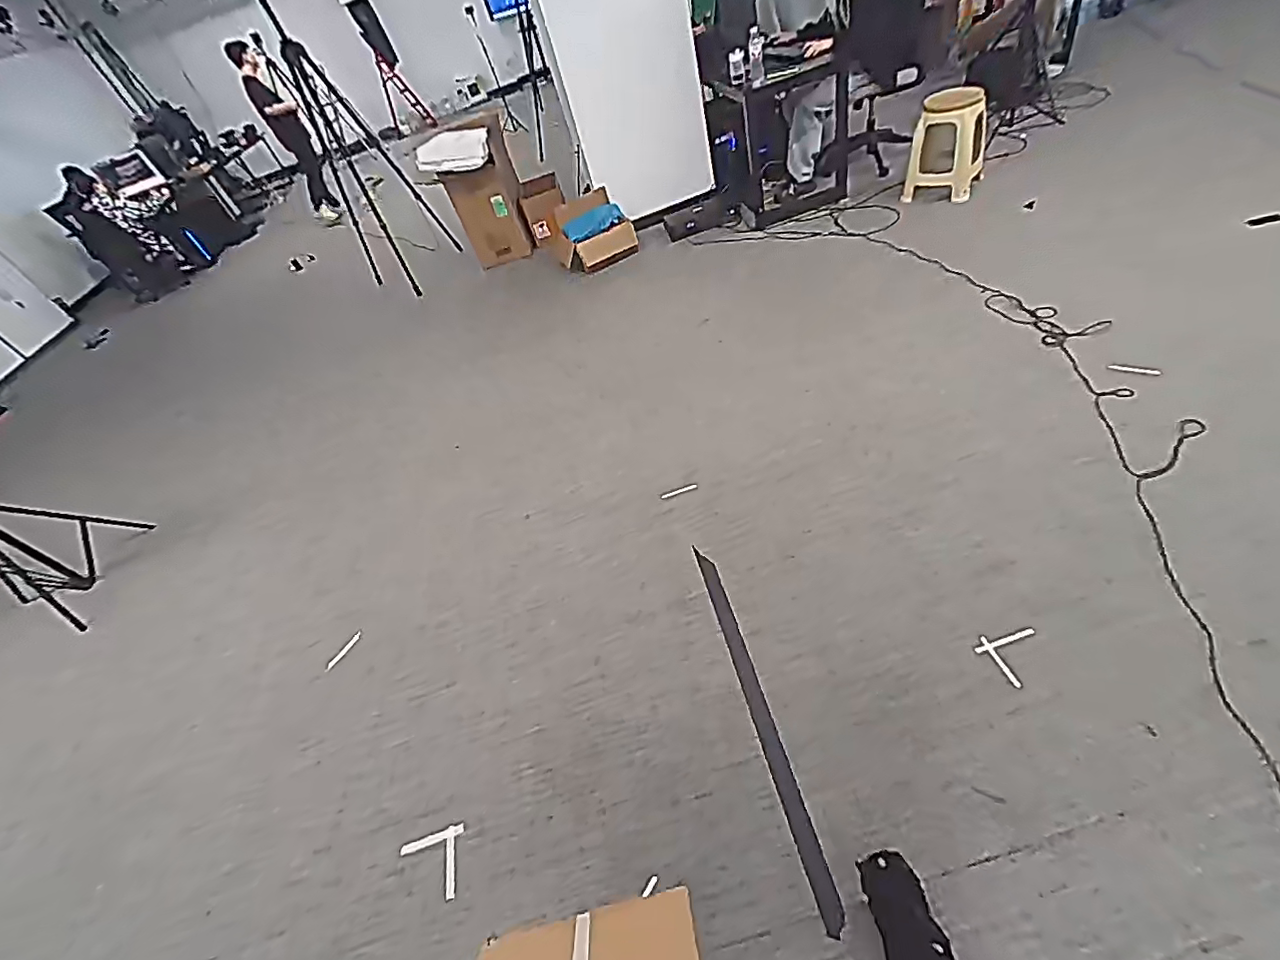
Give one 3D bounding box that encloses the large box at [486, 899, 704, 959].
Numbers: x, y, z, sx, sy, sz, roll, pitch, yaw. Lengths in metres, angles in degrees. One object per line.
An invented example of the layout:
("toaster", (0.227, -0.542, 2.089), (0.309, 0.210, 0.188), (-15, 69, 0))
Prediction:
("large box", (-0.028, 0.817, 0.612), (0.320, 0.320, 0.408), (-14, 5, -1))
